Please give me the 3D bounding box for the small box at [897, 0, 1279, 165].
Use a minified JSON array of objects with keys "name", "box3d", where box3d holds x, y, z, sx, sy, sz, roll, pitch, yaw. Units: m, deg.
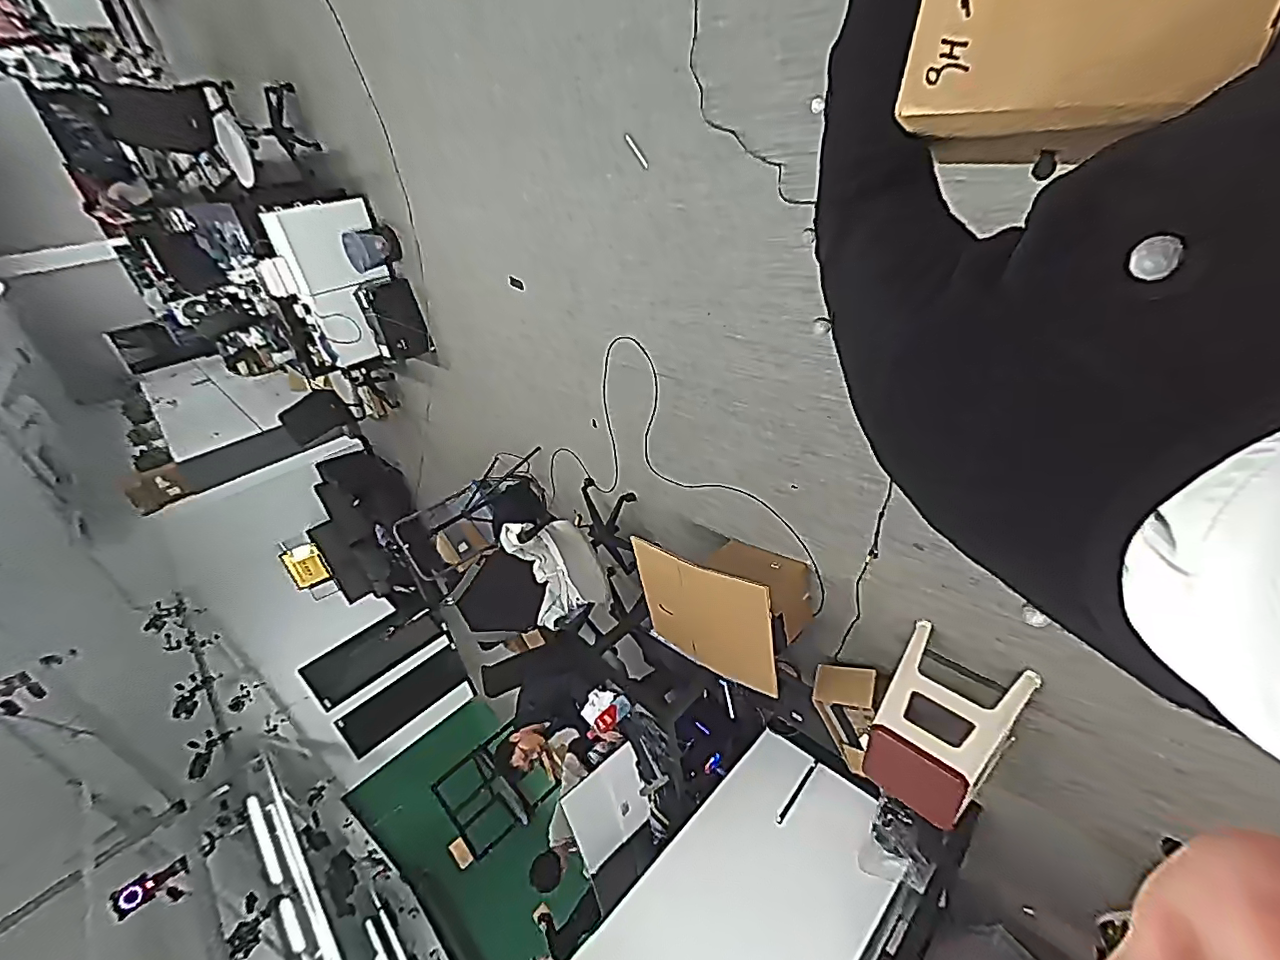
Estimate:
[{"name":"small box","box3d":[0.301,-0.318,0.357,0.179,0.176,0.168,21,116,31]}]
